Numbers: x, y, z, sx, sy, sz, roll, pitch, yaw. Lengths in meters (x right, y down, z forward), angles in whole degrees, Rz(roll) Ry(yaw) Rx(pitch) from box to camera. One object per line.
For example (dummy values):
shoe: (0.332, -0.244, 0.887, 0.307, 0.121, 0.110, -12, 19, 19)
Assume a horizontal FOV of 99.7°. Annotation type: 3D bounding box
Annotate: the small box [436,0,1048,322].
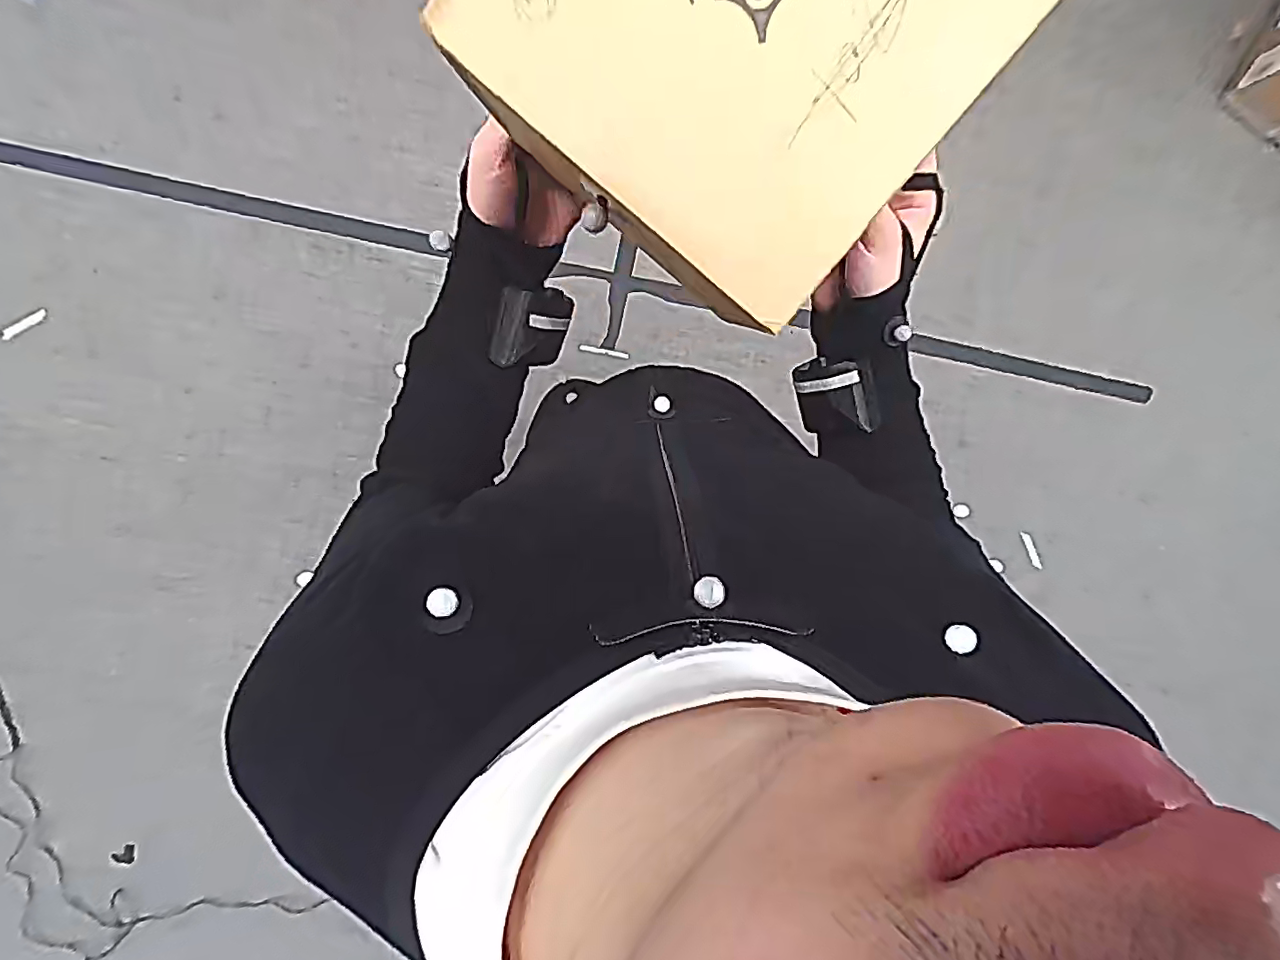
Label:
small box: (0.040, -0.200, 0.275, 0.179, 0.176, 0.168, 37, 106, -10)
